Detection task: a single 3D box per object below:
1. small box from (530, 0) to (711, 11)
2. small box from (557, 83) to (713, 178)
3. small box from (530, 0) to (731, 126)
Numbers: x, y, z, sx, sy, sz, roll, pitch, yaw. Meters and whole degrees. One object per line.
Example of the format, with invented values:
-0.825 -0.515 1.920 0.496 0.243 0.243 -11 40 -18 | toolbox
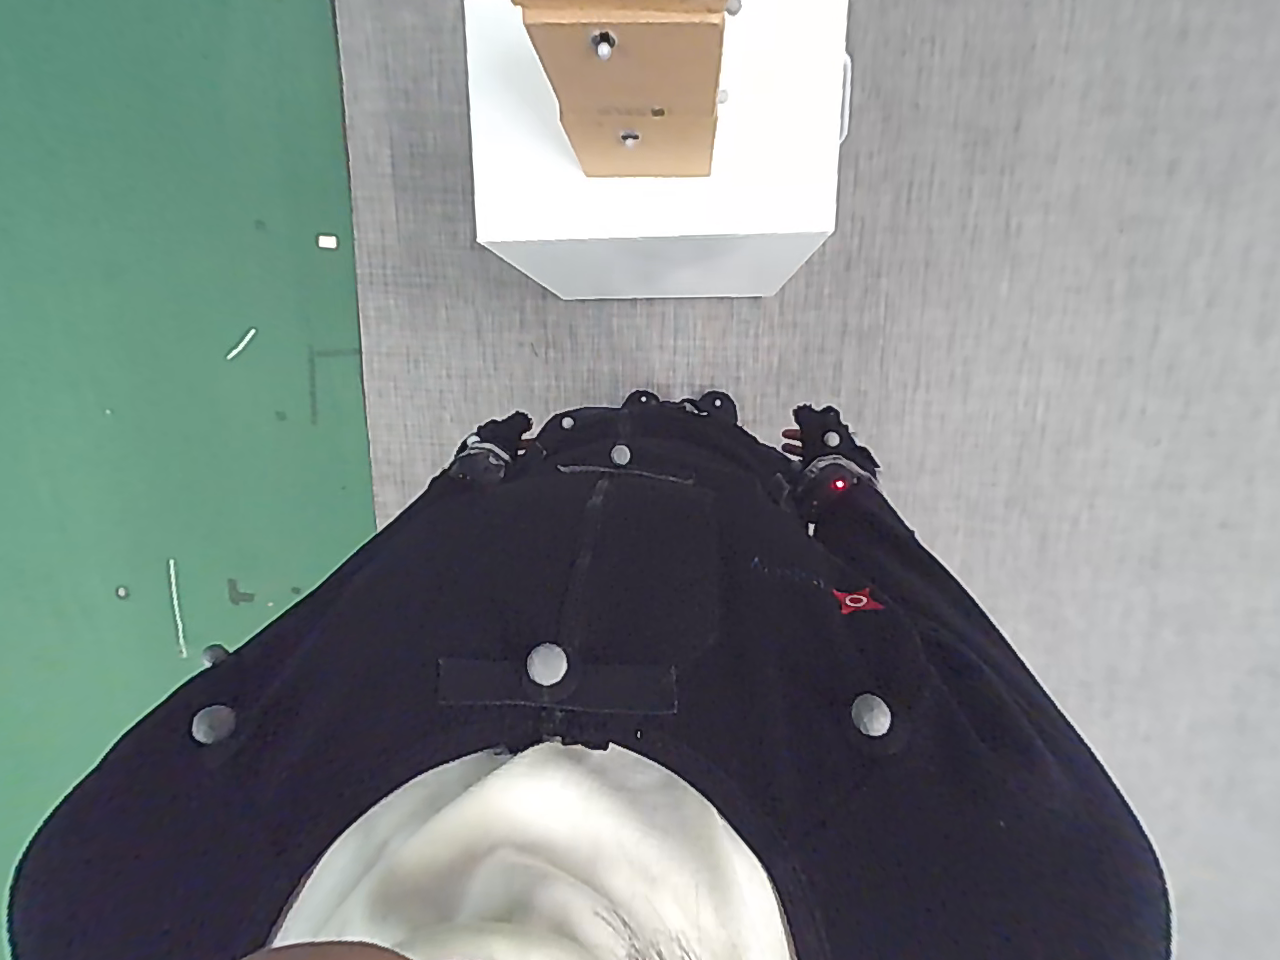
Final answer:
-0.020 -0.443 0.342 0.179 0.176 0.168 4 102 3 | small box
0.004 -0.489 0.664 0.179 0.176 0.168 3 100 4 | small box
-0.003 -0.466 0.505 0.168 0.176 0.179 1 100 4 | small box
